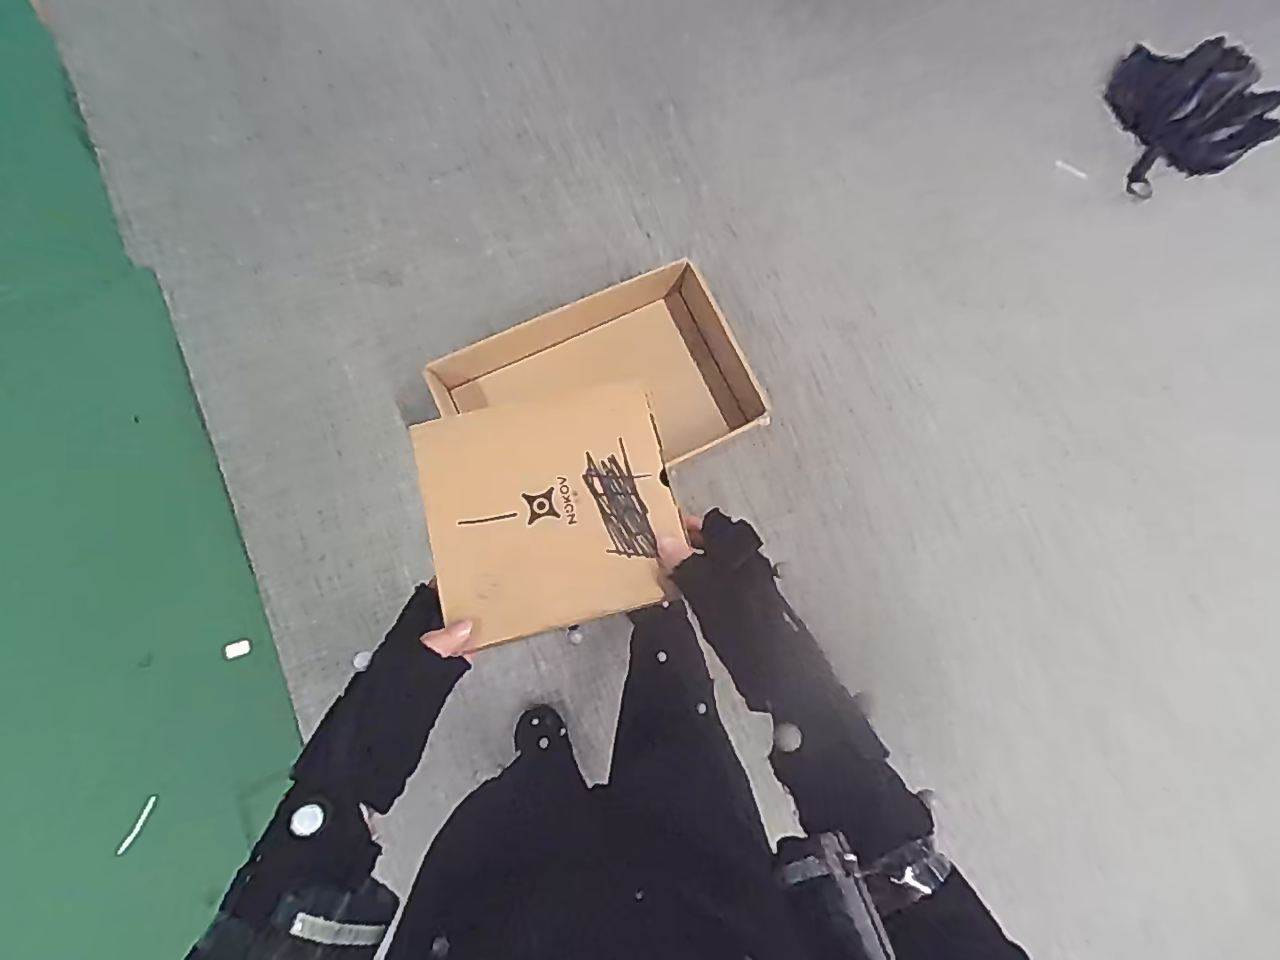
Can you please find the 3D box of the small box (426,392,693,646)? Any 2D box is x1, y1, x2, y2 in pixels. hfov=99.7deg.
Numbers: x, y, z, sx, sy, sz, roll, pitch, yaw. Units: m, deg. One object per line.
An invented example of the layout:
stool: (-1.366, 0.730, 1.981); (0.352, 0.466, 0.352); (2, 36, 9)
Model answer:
small box: (-0.070, 0.043, 0.484); (0.179, 0.176, 0.168); (-13, 75, -9)
